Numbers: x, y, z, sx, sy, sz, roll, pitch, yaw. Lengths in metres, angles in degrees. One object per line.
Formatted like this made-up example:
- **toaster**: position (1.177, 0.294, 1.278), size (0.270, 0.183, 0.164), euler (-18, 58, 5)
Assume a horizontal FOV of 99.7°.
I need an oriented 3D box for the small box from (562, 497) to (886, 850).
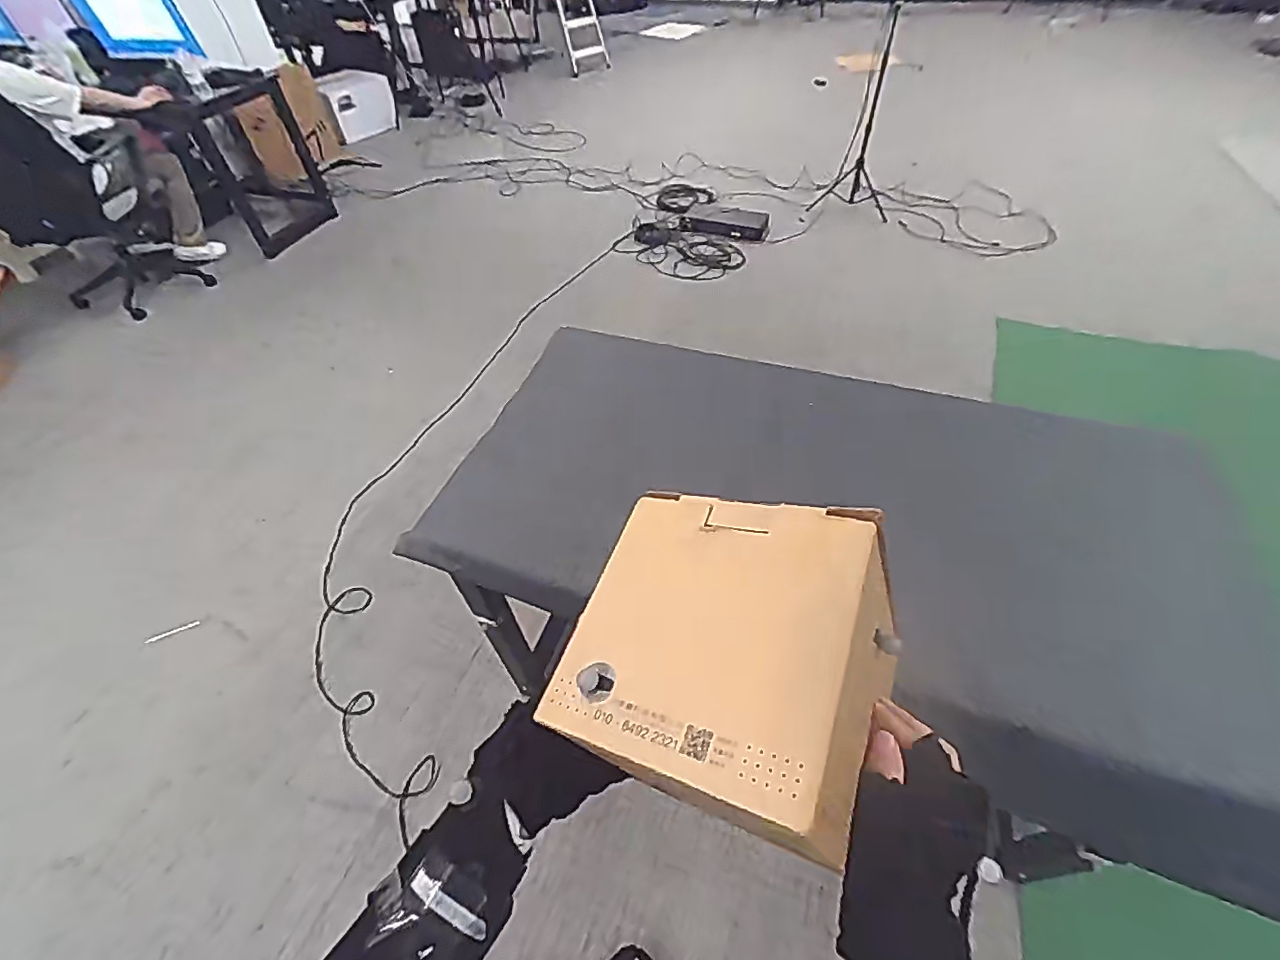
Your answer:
- **small box**: position (0.068, 0.135, 0.390), size (0.168, 0.179, 0.176), euler (6, 55, 34)
